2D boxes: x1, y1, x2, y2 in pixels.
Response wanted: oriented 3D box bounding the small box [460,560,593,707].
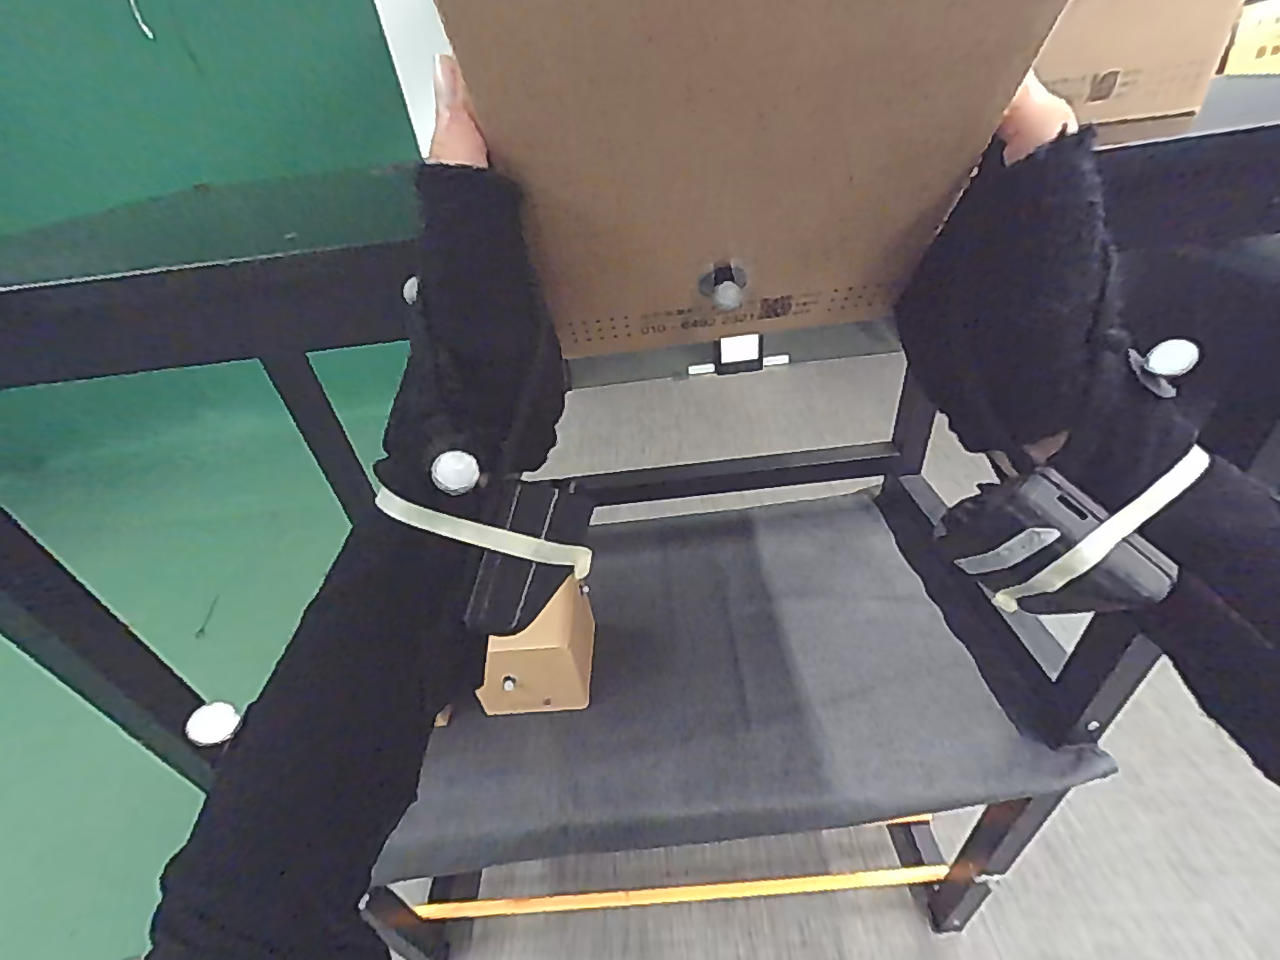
[{"bbox_3d":[-0.175,0.258,0.895,0.168,0.176,0.179,-5,35,3],"label":"small box"}]
